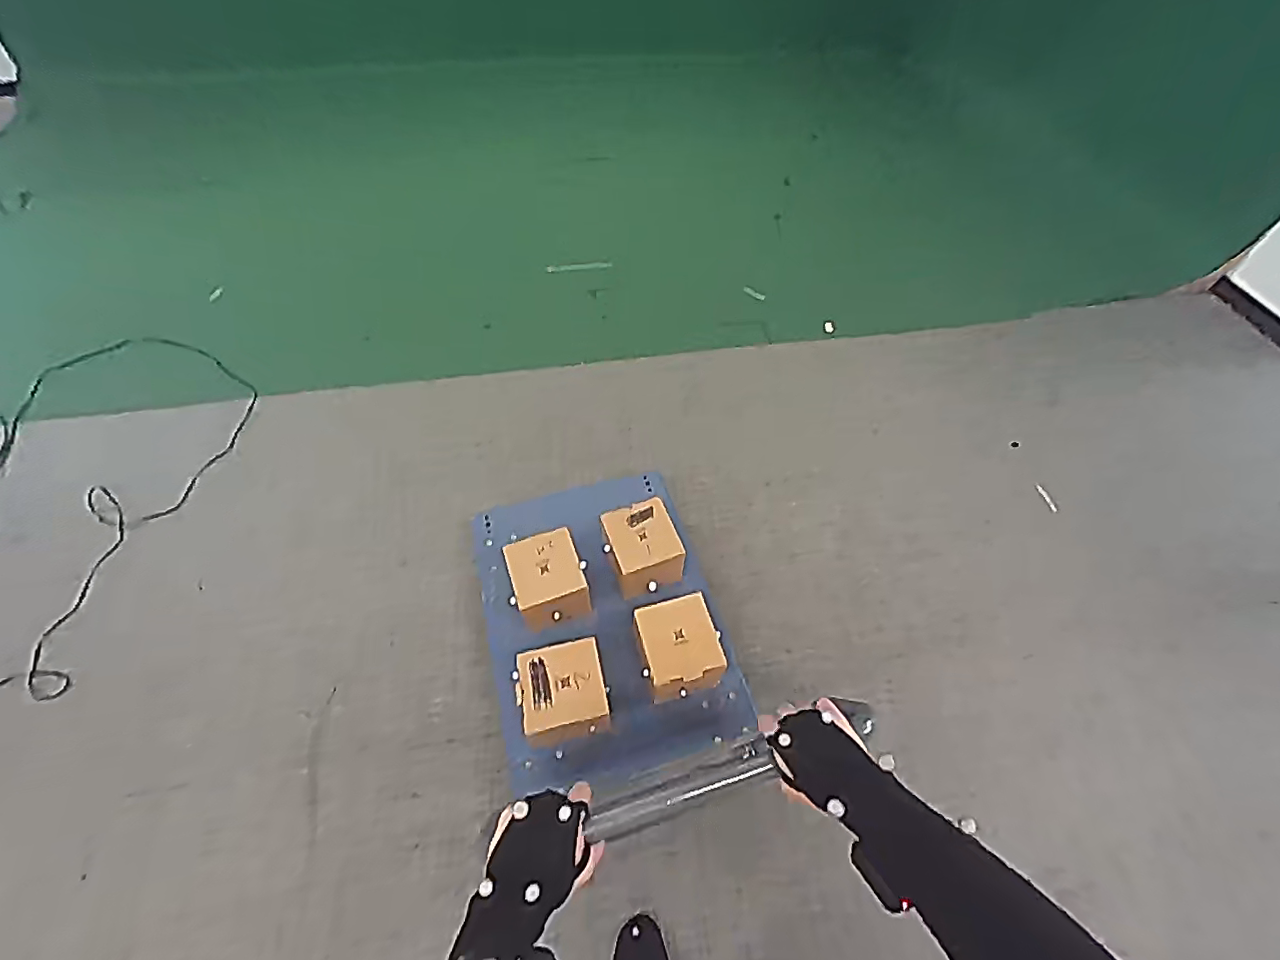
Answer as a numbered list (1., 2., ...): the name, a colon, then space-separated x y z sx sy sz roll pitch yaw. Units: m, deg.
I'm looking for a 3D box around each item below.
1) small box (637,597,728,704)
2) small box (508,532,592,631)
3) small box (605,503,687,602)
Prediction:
1. small box: 0.091 0.407 1.282 0.168 0.176 0.179 -13 57 -10
2. small box: -0.224 0.266 1.374 0.168 0.176 0.179 -16 57 -13
3. small box: 0.011 0.193 1.428 0.168 0.176 0.179 -17 58 -11
